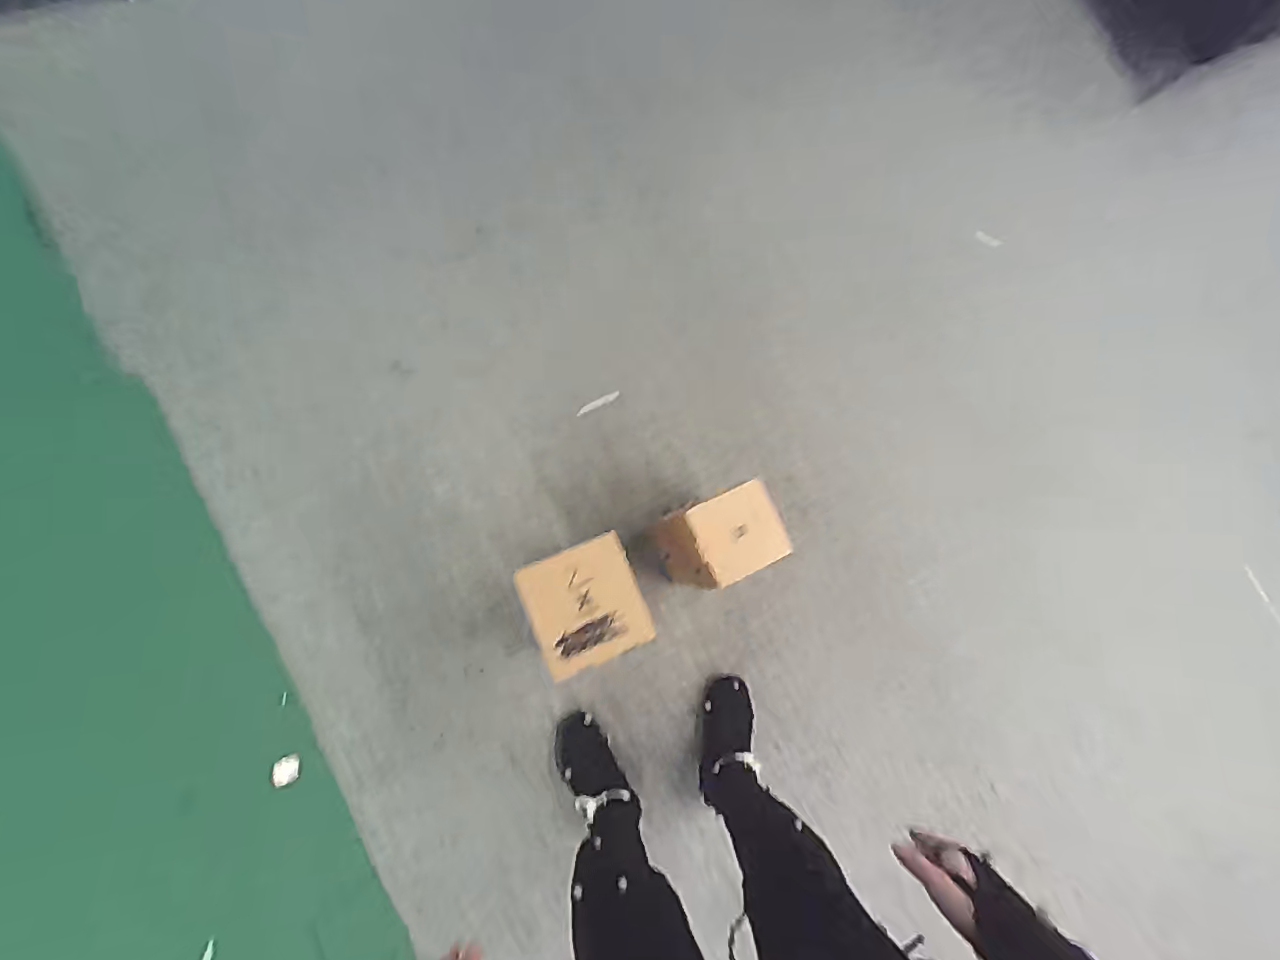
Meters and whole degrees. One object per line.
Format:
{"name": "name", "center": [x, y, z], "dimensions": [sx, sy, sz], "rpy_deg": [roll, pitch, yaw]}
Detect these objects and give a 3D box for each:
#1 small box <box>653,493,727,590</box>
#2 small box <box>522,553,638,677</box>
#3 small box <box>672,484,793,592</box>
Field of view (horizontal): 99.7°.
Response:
{"name": "small box", "center": [0.145, 0.153, 1.297], "dimensions": [0.179, 0.176, 0.168], "rpy_deg": [-26, 85, -14]}
{"name": "small box", "center": [-0.121, 0.255, 1.052], "dimensions": [0.168, 0.176, 0.179], "rpy_deg": [-21, 83, -15]}
{"name": "small box", "center": [0.181, 0.128, 1.139], "dimensions": [0.179, 0.176, 0.168], "rpy_deg": [-24, 84, -15]}
